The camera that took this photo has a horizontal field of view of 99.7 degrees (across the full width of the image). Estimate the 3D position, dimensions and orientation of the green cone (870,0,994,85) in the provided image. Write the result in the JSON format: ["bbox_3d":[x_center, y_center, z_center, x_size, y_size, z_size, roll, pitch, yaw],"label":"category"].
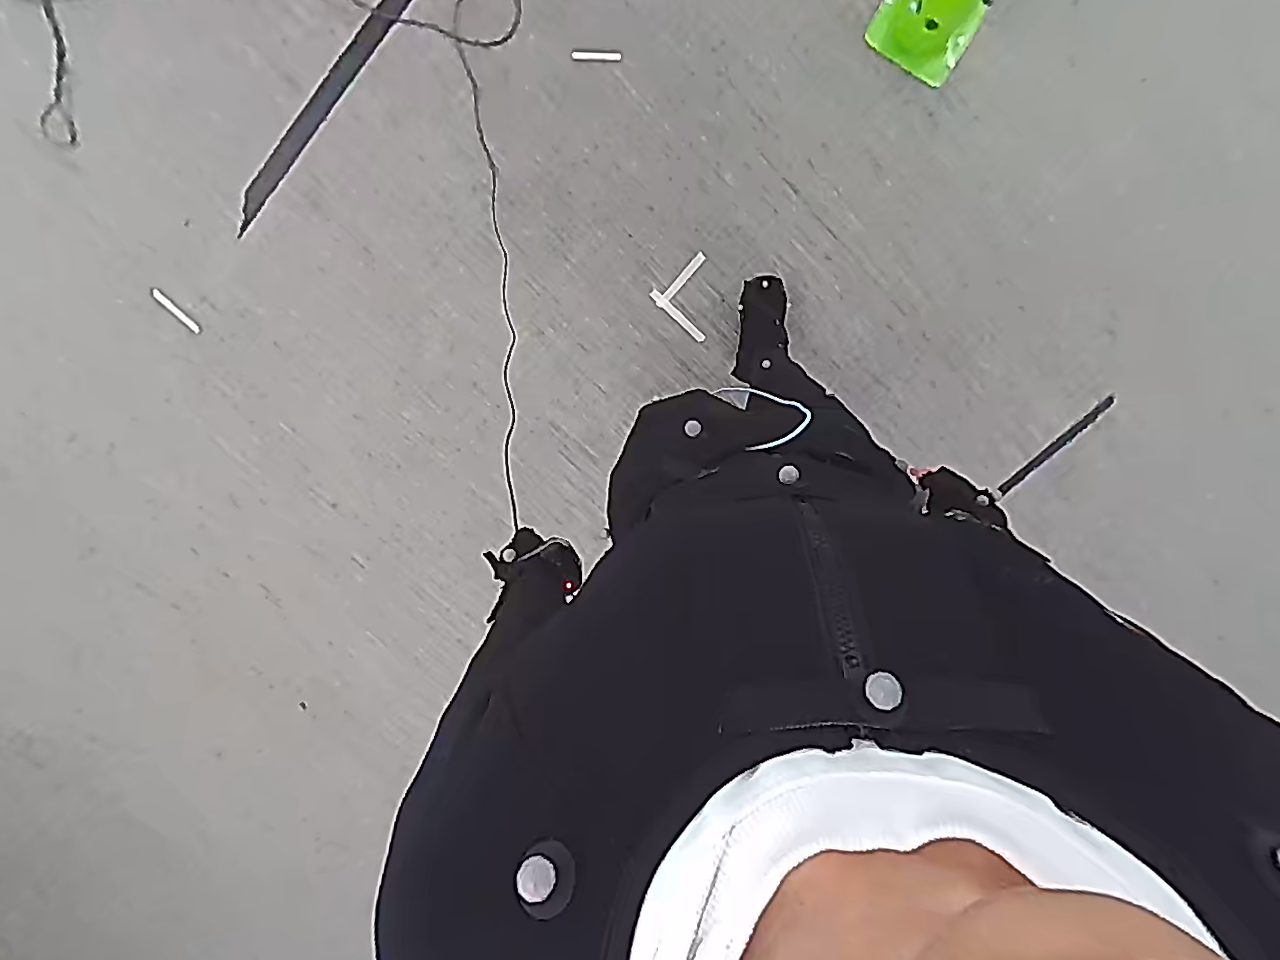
[{"bbox_3d":[0.610,-0.937,0.984,0.200,0.368,0.202,29,106,-5],"label":"green cone"}]
